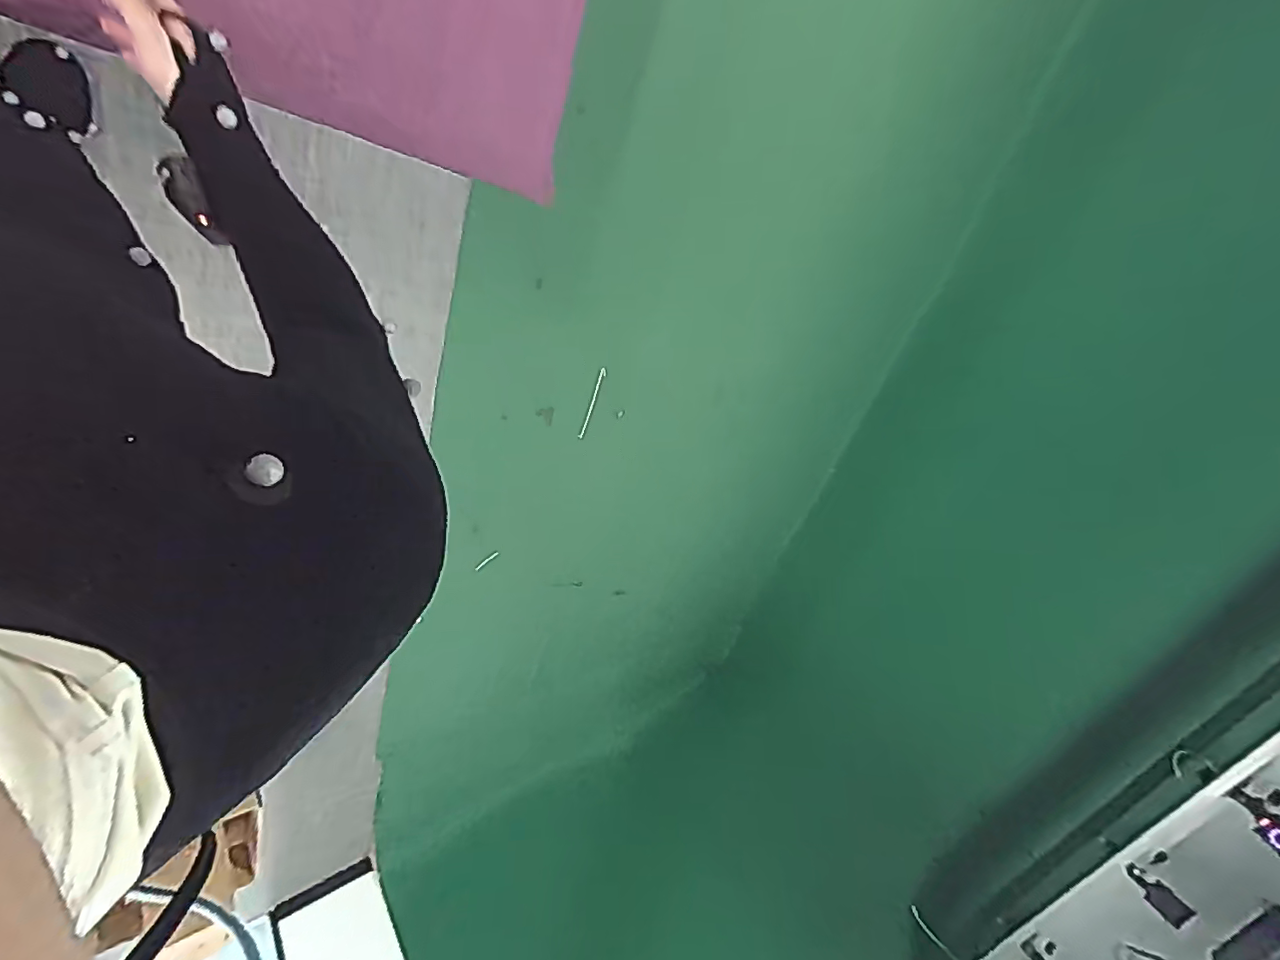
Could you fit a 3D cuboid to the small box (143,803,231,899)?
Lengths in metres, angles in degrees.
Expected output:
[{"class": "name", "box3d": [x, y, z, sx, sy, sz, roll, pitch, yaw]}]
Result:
[{"class": "small box", "box3d": [-1.263, 1.049, 1.509, 0.179, 0.176, 0.168, -5, 126, -41]}]

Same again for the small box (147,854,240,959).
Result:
[{"class": "small box", "box3d": [-1.164, 1.136, 1.411, 0.179, 0.176, 0.168, -7, 127, -41]}]
